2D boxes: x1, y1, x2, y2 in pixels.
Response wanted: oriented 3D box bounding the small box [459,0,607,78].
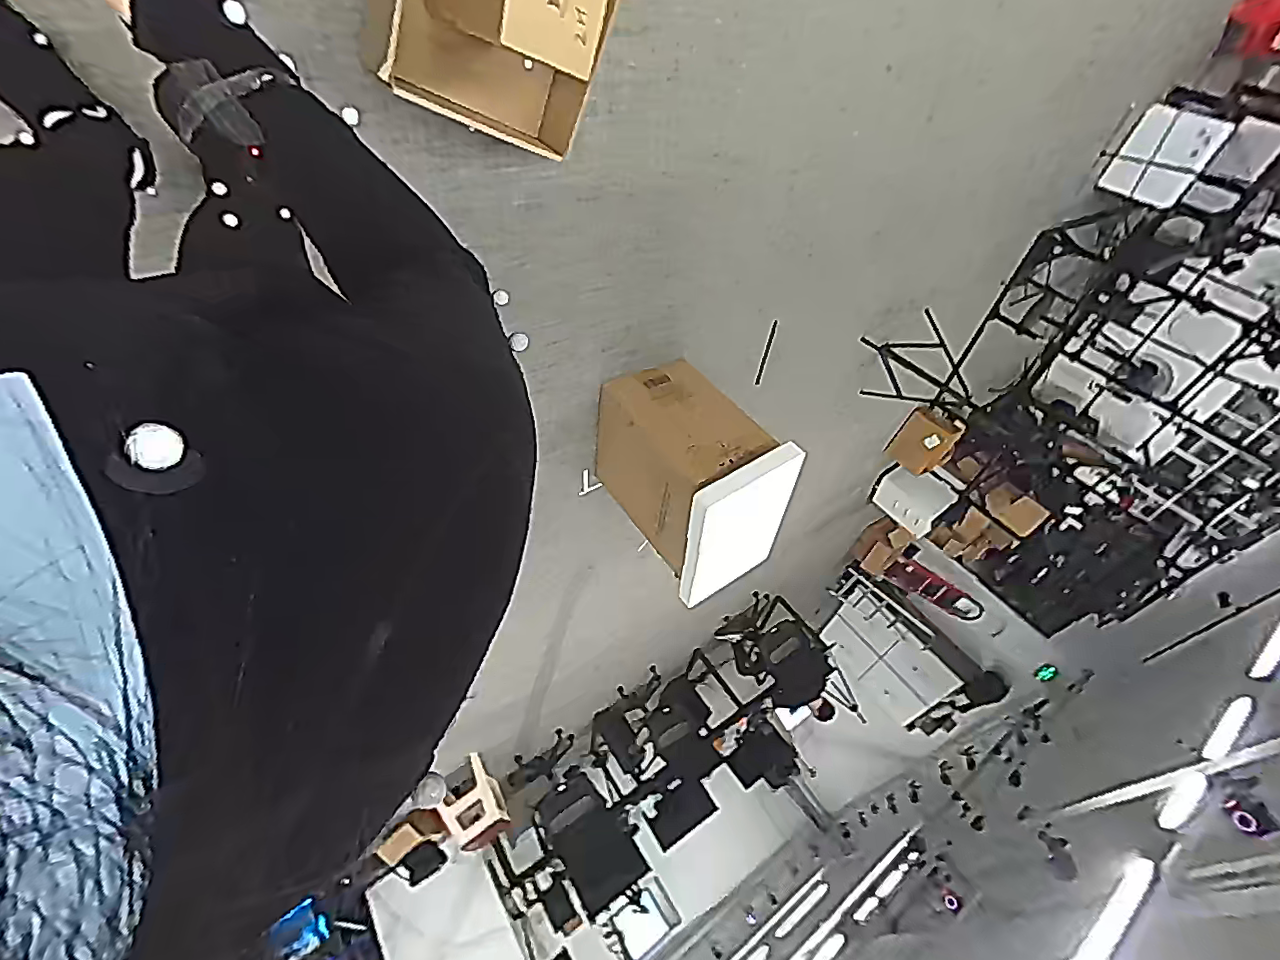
[{"bbox_3d":[-0.175,-0.799,0.884,0.179,0.176,0.168,-11,136,-42],"label":"small box"}]
